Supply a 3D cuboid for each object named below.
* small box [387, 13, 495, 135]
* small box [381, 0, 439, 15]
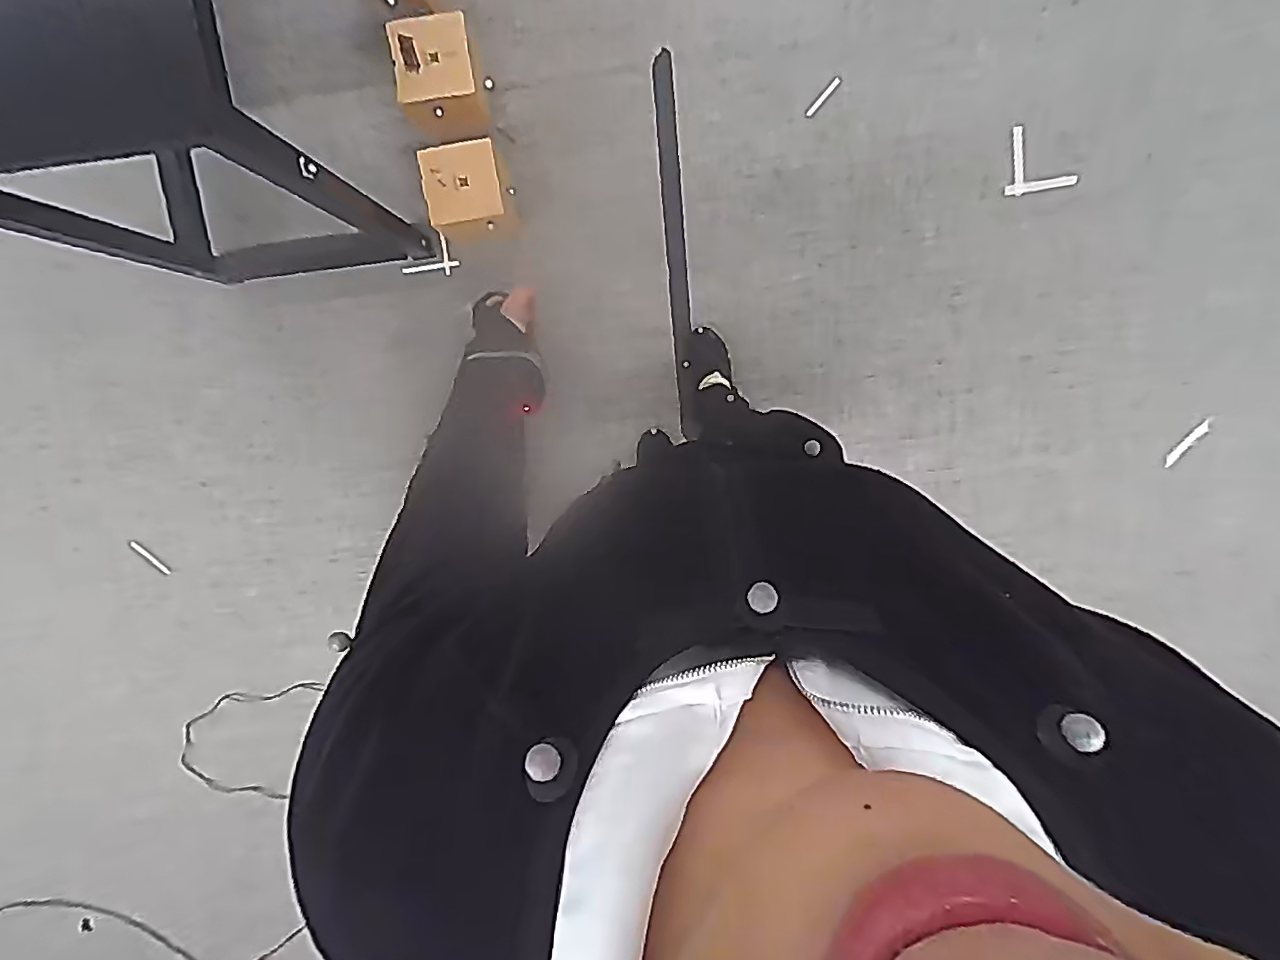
[{"bbox_3d":[-0.460,-0.941,1.271,0.179,0.176,0.168,-7,100,2],"label":"small box"},{"bbox_3d":[-0.556,-1.223,1.226,0.168,0.176,0.179,15,101,0],"label":"small box"}]
